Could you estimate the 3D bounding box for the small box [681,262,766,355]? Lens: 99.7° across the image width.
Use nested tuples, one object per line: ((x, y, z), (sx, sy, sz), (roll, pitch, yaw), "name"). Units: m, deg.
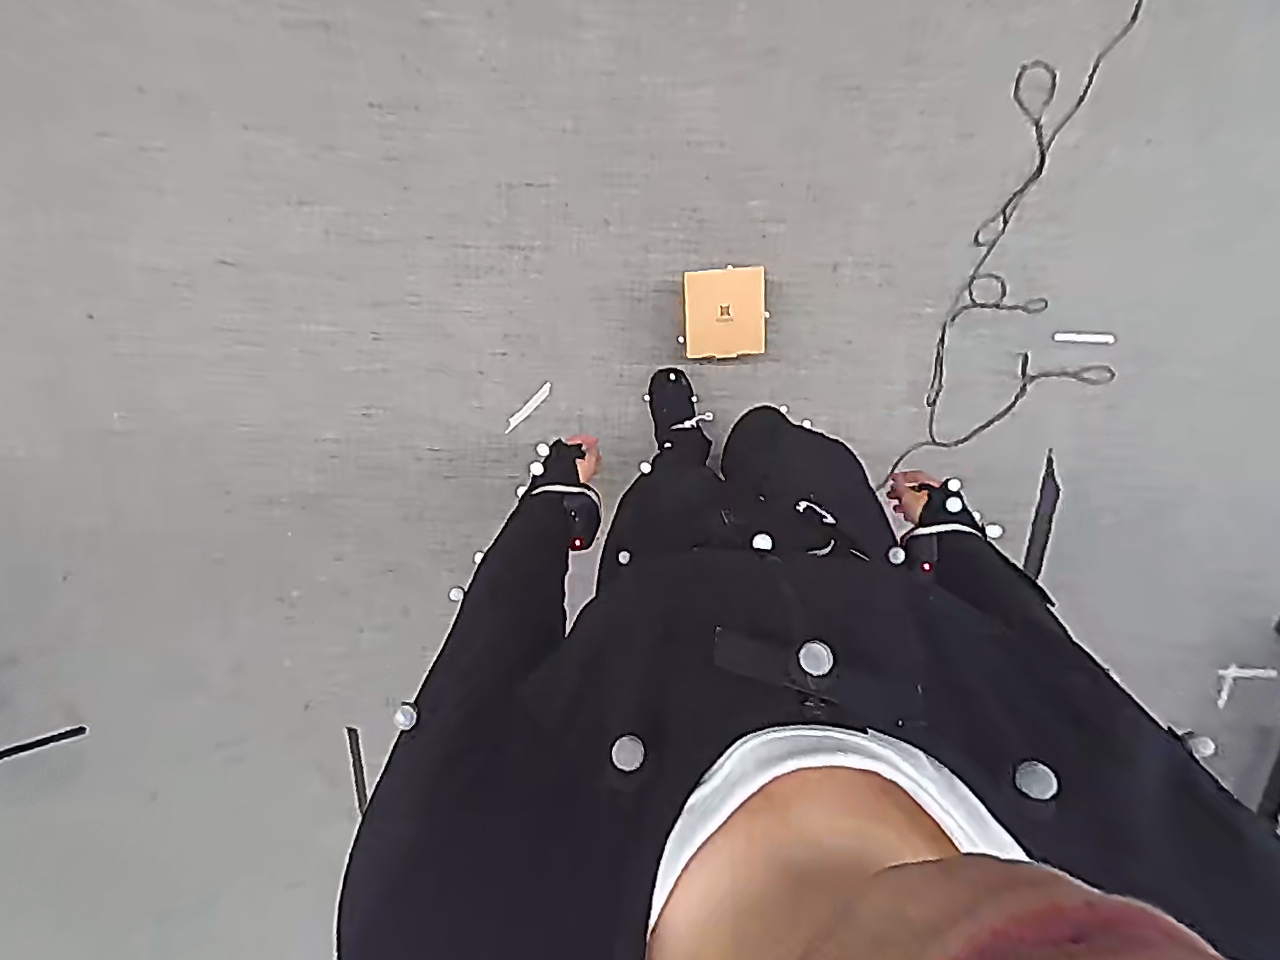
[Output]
((0.179, -0.371, 1.190), (0.168, 0.176, 0.179), (-4, 105, 2), "small box")
